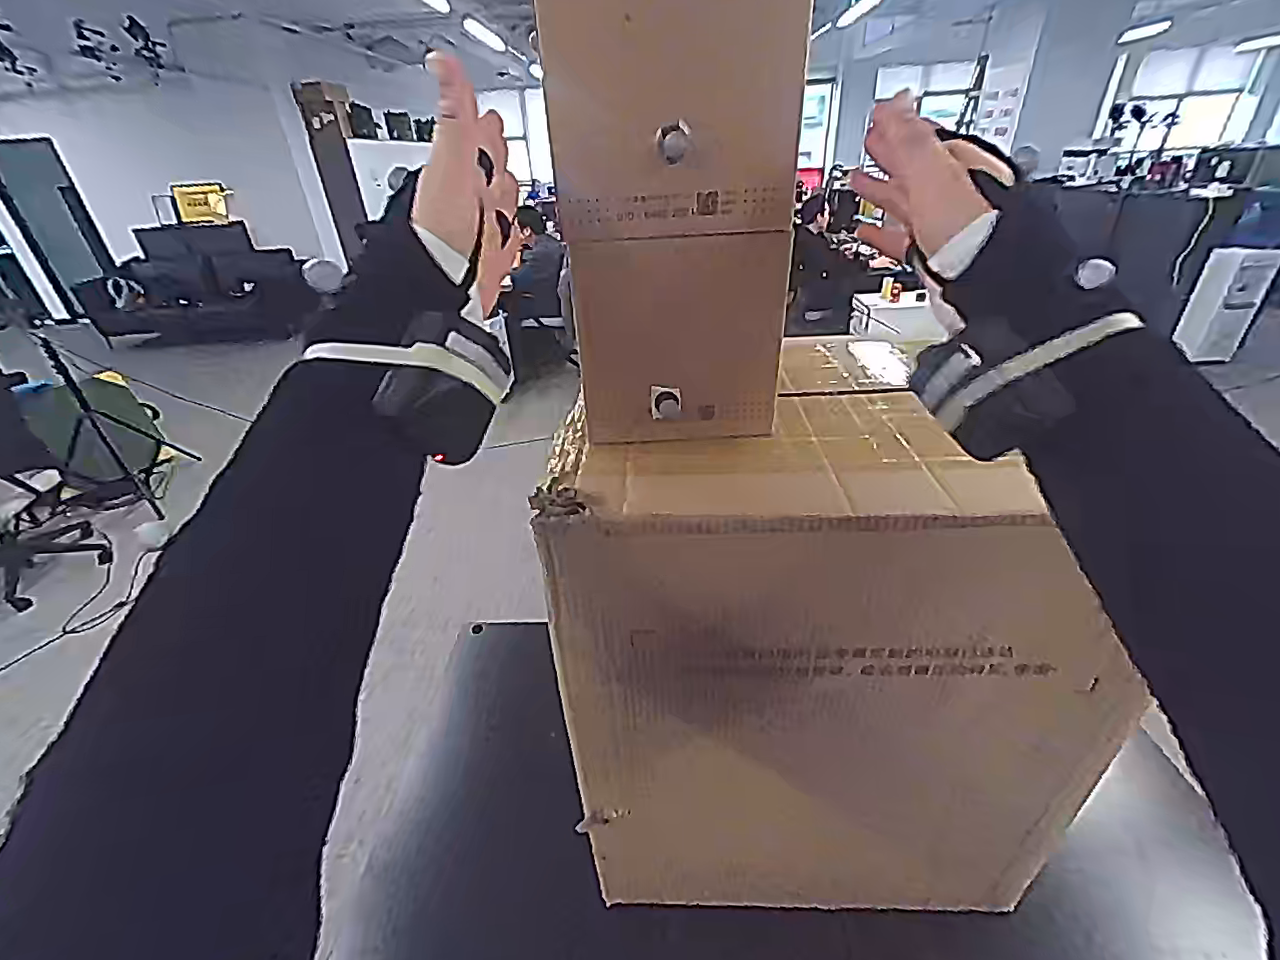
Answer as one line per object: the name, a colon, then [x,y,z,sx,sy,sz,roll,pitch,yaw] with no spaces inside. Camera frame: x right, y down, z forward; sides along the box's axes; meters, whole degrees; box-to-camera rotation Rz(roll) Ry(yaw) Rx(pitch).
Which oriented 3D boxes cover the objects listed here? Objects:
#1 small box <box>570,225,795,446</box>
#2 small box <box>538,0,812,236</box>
small box: [0.029,-0.146,0.498,0.168,0.176,0.179,-5,33,-2]
small box: [0.019,-0.285,0.409,0.168,0.176,0.179,-4,32,0]
